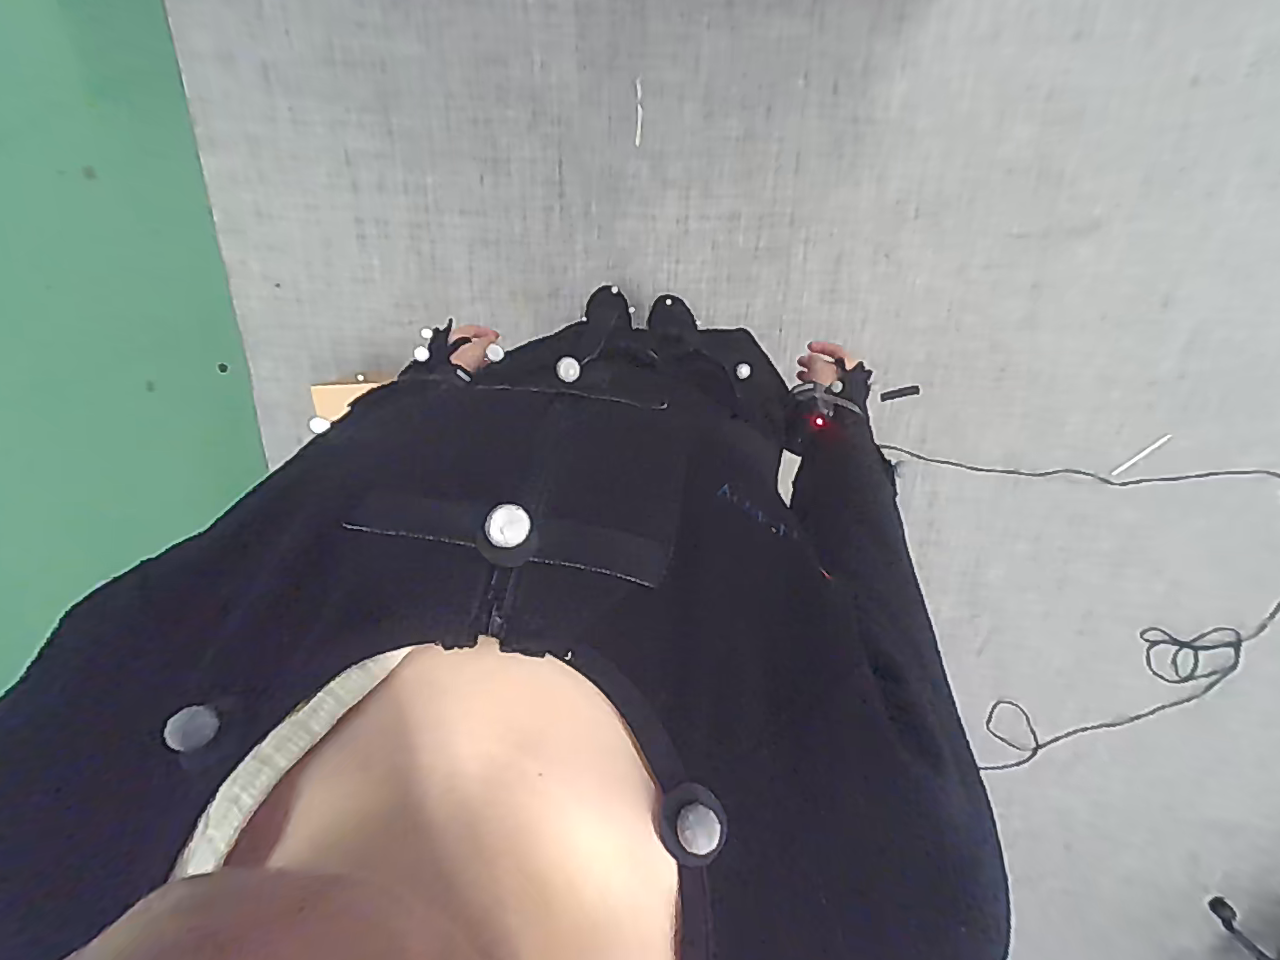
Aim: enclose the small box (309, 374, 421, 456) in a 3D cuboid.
[{"bbox_3d":[-0.649,-0.160,1.307,0.179,0.176,0.168,-1,109,6],"label":"small box"}]
